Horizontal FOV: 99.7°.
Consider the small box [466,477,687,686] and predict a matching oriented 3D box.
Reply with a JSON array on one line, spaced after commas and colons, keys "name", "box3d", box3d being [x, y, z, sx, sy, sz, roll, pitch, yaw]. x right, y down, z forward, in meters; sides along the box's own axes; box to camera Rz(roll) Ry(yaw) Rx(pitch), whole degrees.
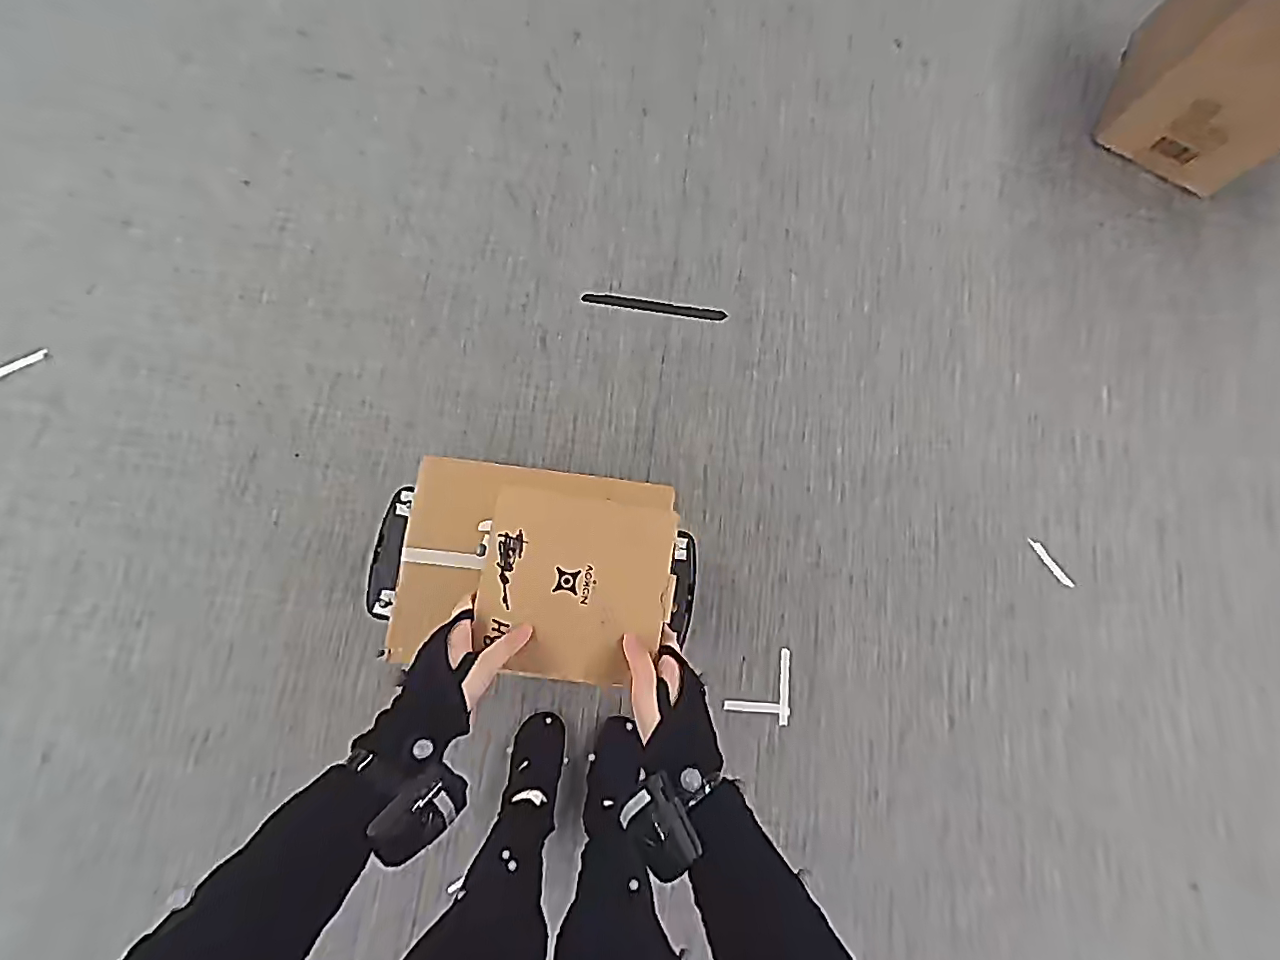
[{"name": "small box", "box3d": [-0.062, 0.106, 0.569, 0.179, 0.176, 0.168, 10, 76, -4]}]

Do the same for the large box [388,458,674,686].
[{"name": "large box", "box3d": [-0.163, 0.163, 0.967, 0.408, 0.320, 0.320, 7, 77, -2]}]
